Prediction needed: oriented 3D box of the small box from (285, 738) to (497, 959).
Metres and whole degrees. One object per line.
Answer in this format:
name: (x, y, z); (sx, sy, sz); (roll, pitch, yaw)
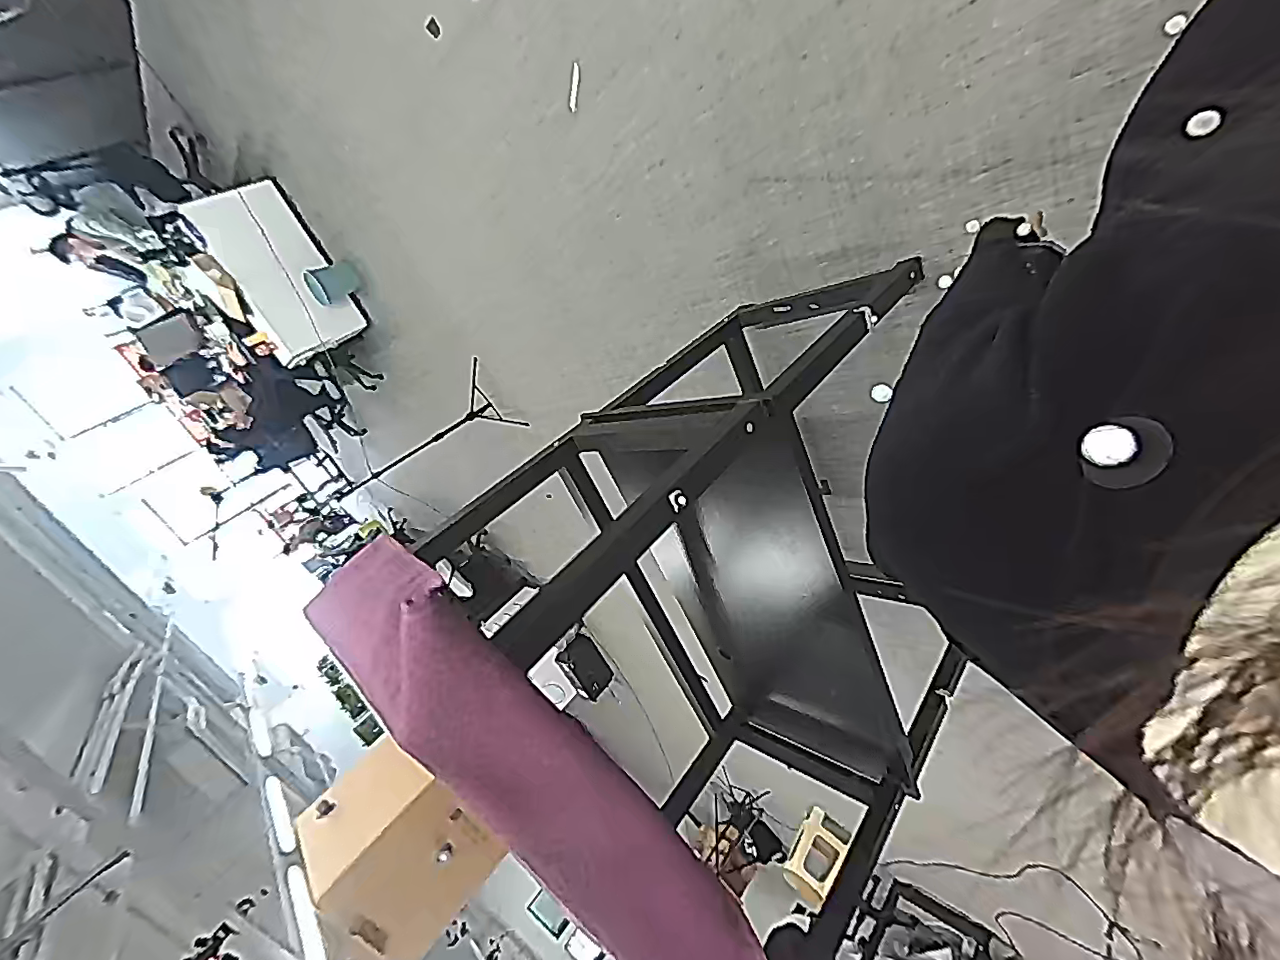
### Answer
small box: (-0.316, 0.470, 0.696); (0.179, 0.176, 0.168); (0, 126, 51)
